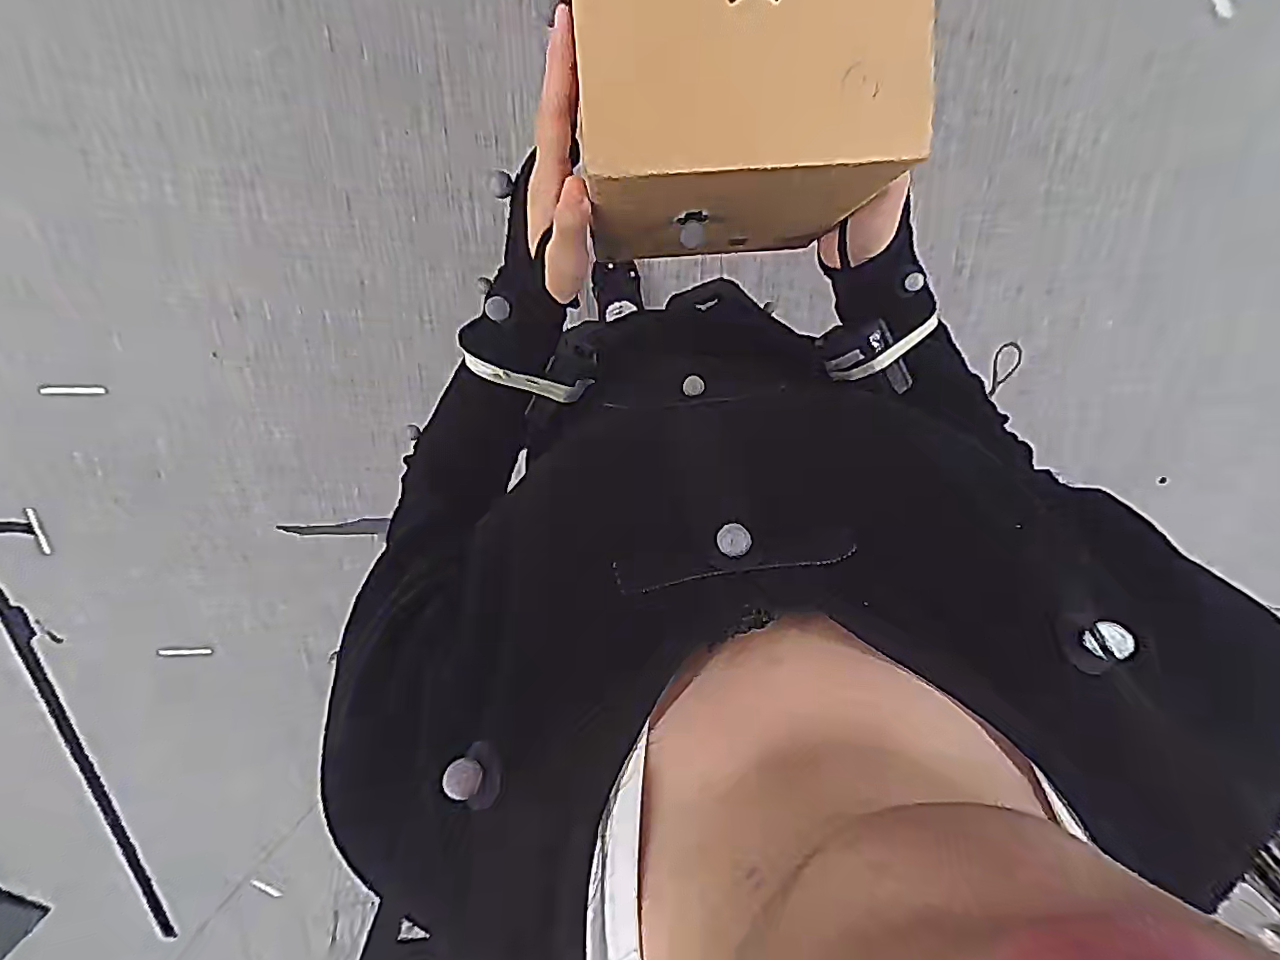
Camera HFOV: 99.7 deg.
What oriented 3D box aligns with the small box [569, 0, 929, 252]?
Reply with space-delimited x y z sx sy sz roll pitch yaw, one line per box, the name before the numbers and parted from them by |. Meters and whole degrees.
small box | 0.046 -0.244 0.320 0.168 0.176 0.179 -5 98 -2
